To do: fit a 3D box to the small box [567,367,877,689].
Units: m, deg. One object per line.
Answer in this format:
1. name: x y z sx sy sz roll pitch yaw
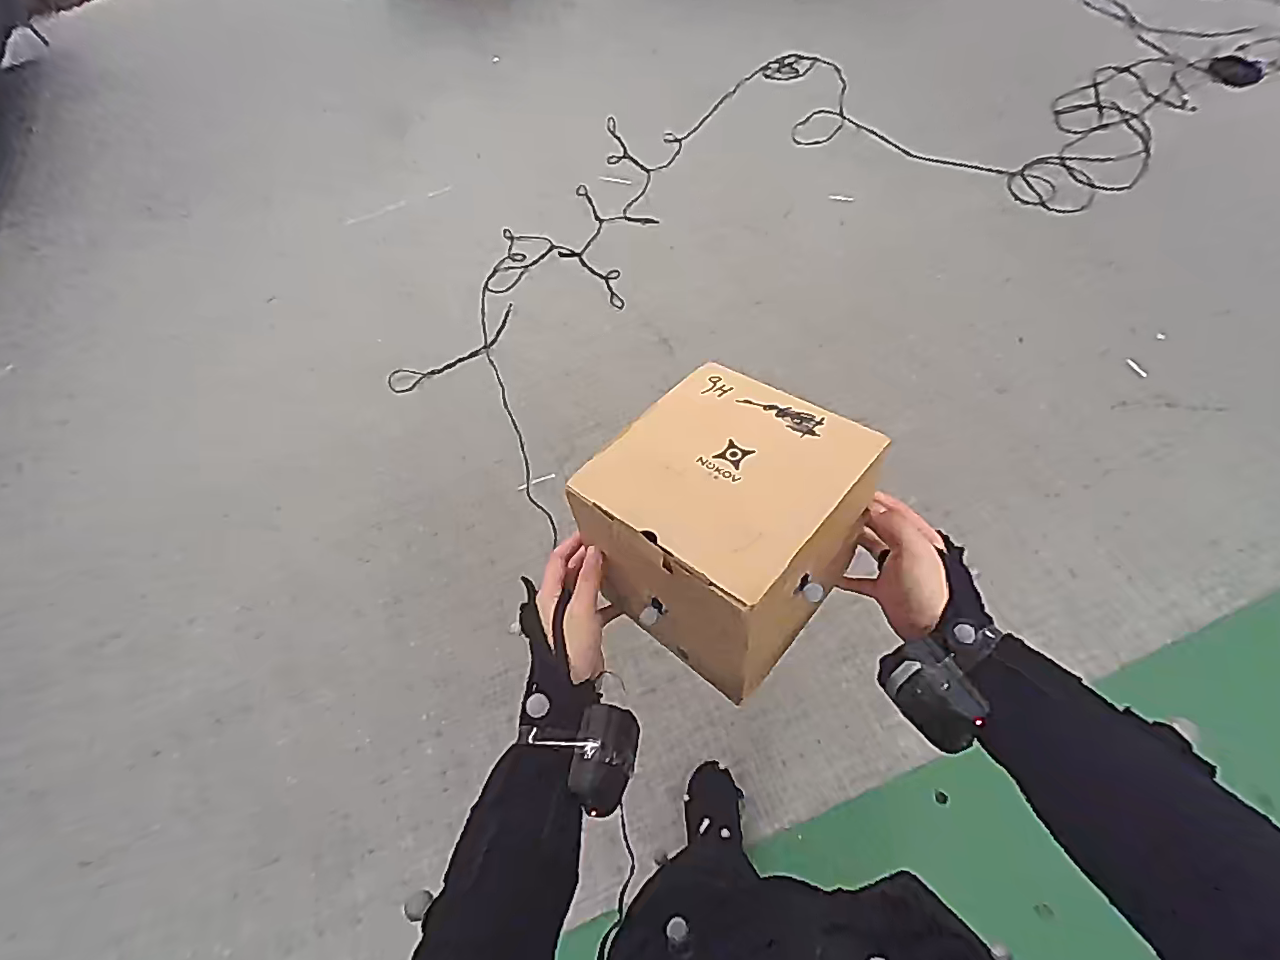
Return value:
1. small box: 0.070 0.041 0.458 0.168 0.176 0.179 32 61 30
